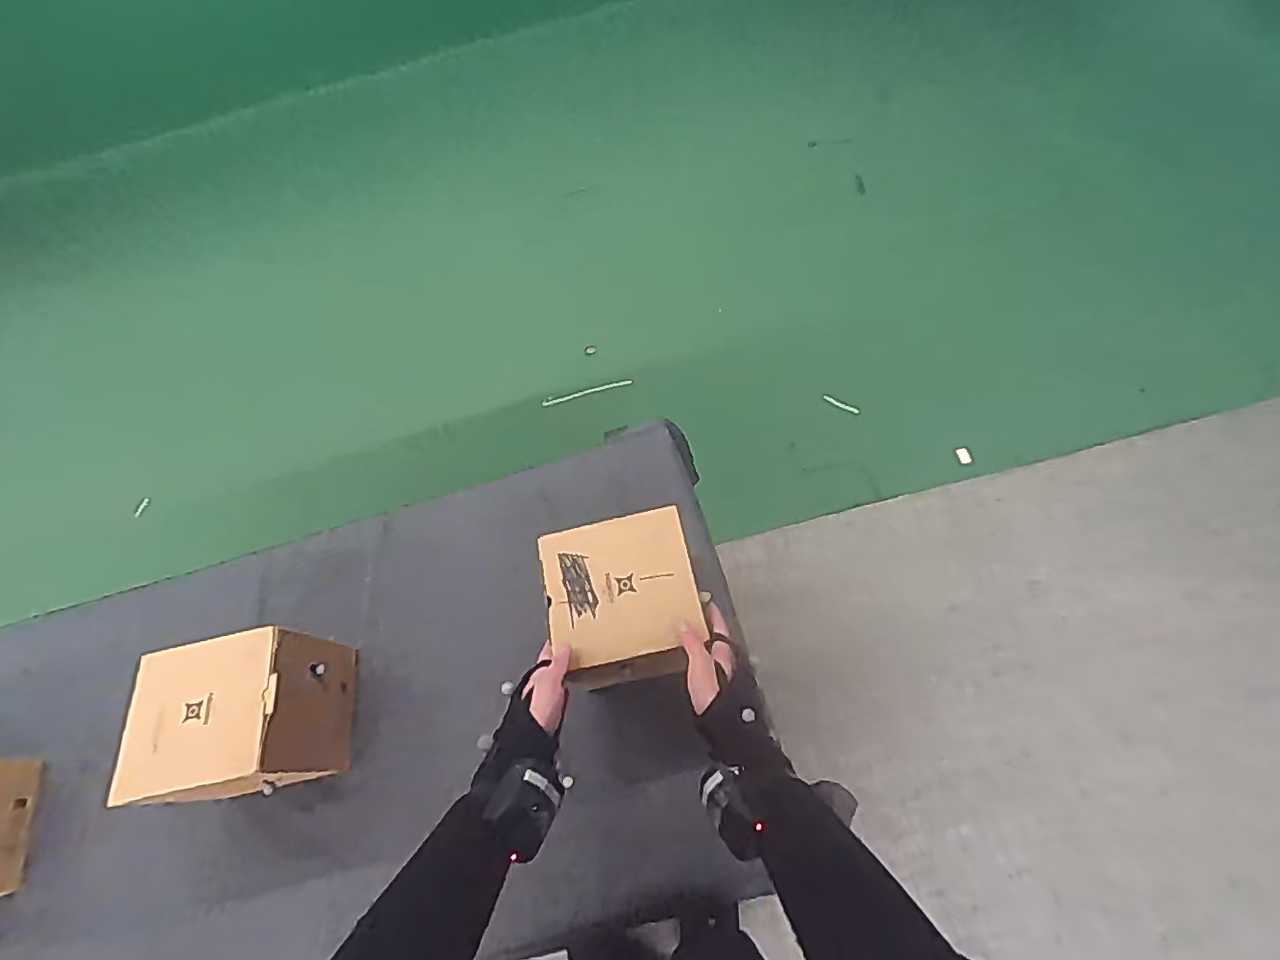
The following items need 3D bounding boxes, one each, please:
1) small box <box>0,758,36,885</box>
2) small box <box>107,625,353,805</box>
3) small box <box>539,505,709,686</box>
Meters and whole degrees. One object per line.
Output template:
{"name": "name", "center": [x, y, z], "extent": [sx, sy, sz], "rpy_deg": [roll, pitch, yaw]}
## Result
{"name": "small box", "center": [-0.930, 0.458, 0.671], "extent": [0.179, 0.176, 0.168], "rpy_deg": [-20, 62, -3]}
{"name": "small box", "center": [-0.497, 0.299, 0.689], "extent": [0.179, 0.176, 0.168], "rpy_deg": [-14, 61, 3]}
{"name": "small box", "center": [-0.015, 0.154, 0.685], "extent": [0.179, 0.176, 0.168], "rpy_deg": [-13, 62, 1]}
